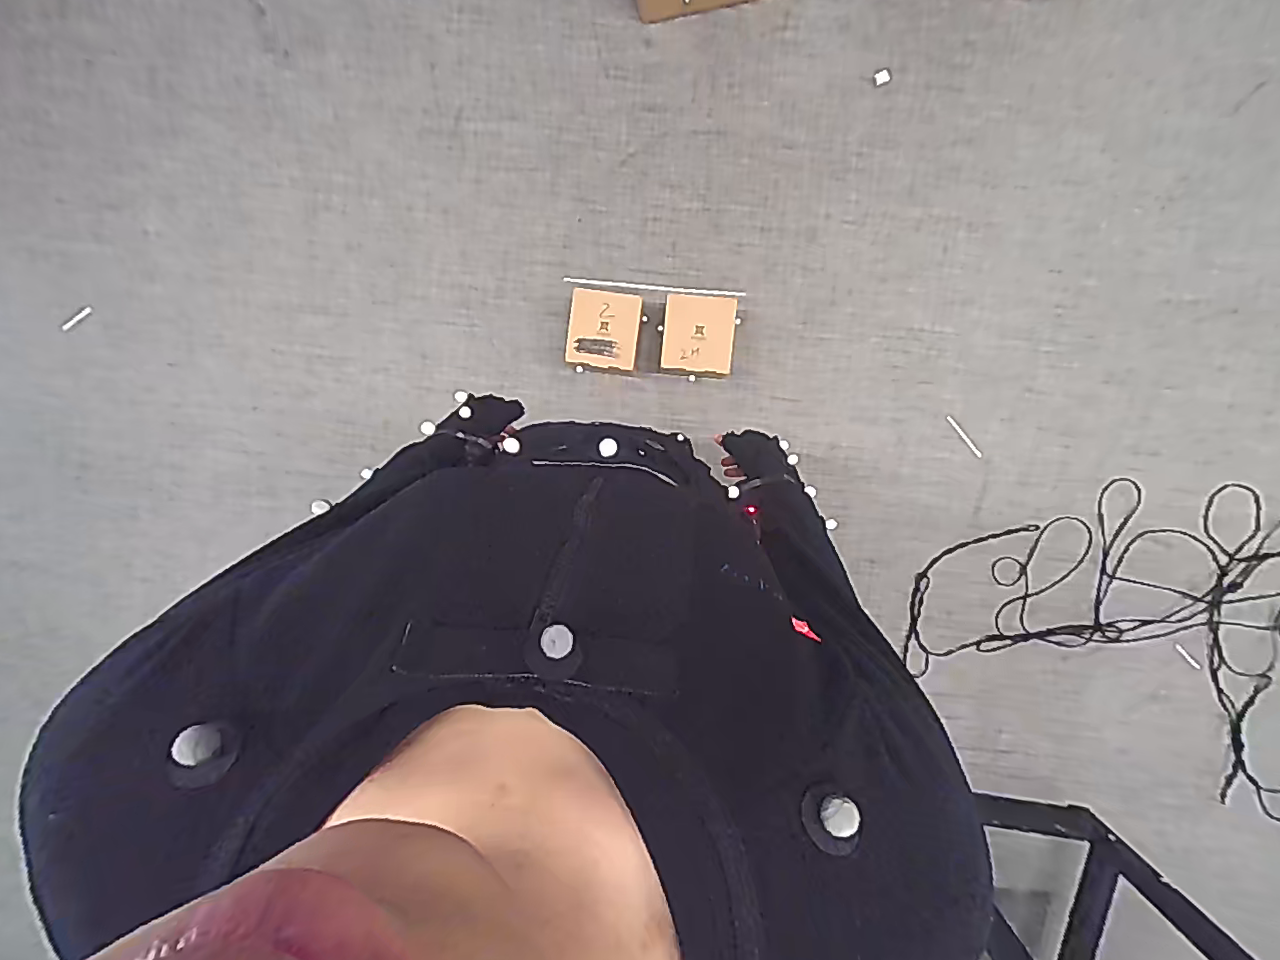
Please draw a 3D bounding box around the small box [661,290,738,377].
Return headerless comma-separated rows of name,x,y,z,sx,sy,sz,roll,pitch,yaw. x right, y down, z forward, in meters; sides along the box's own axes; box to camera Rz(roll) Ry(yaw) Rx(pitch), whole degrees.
small box,0.141,-0.355,1.339,0.168,0.176,0.179,5,97,2
